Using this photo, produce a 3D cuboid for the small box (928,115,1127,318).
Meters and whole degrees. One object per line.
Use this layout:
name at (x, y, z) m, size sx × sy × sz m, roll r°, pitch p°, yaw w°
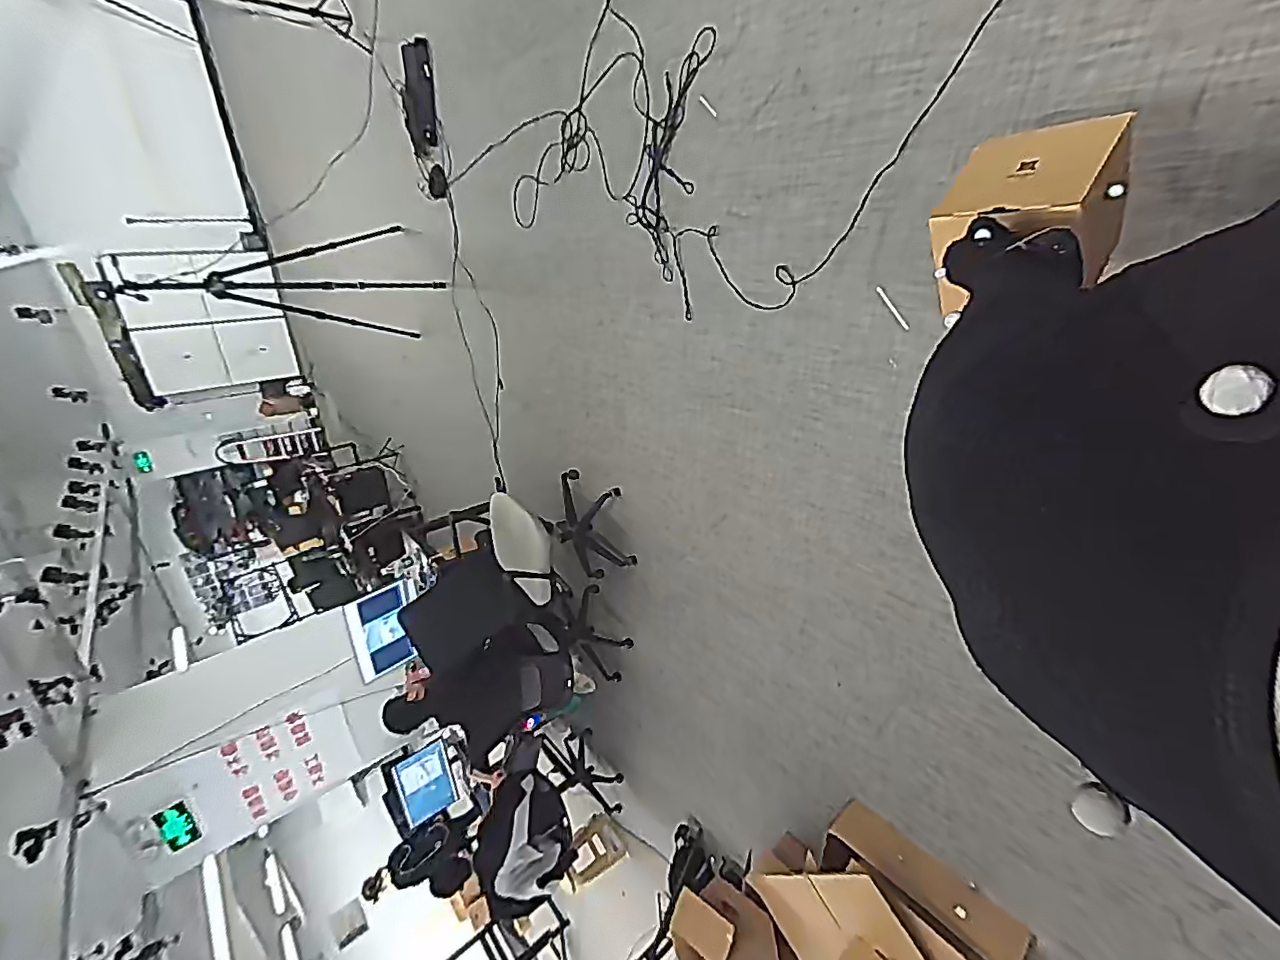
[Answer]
small box at (0.521, -0.346, 0.735) m, size 0.168 × 0.179 × 0.176 m, roll 20°, pitch 158°, yaw 45°
